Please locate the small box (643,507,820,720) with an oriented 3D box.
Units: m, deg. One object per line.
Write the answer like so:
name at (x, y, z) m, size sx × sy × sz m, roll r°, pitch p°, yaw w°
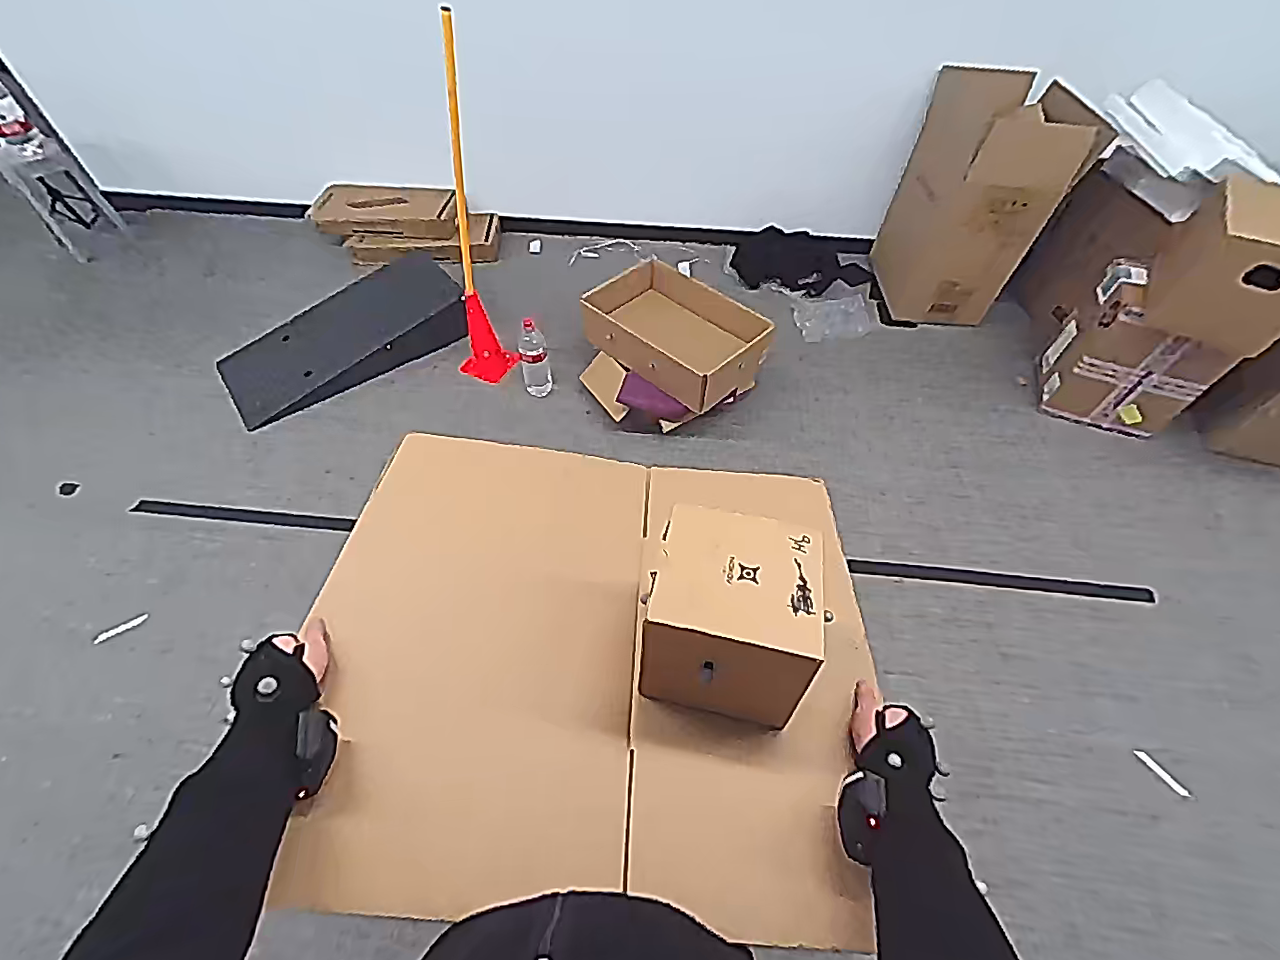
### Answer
small box at (0.104, 0.158, 0.637) m, size 0.179 × 0.176 × 0.168 m, roll 10°, pitch 46°, yaw 8°
